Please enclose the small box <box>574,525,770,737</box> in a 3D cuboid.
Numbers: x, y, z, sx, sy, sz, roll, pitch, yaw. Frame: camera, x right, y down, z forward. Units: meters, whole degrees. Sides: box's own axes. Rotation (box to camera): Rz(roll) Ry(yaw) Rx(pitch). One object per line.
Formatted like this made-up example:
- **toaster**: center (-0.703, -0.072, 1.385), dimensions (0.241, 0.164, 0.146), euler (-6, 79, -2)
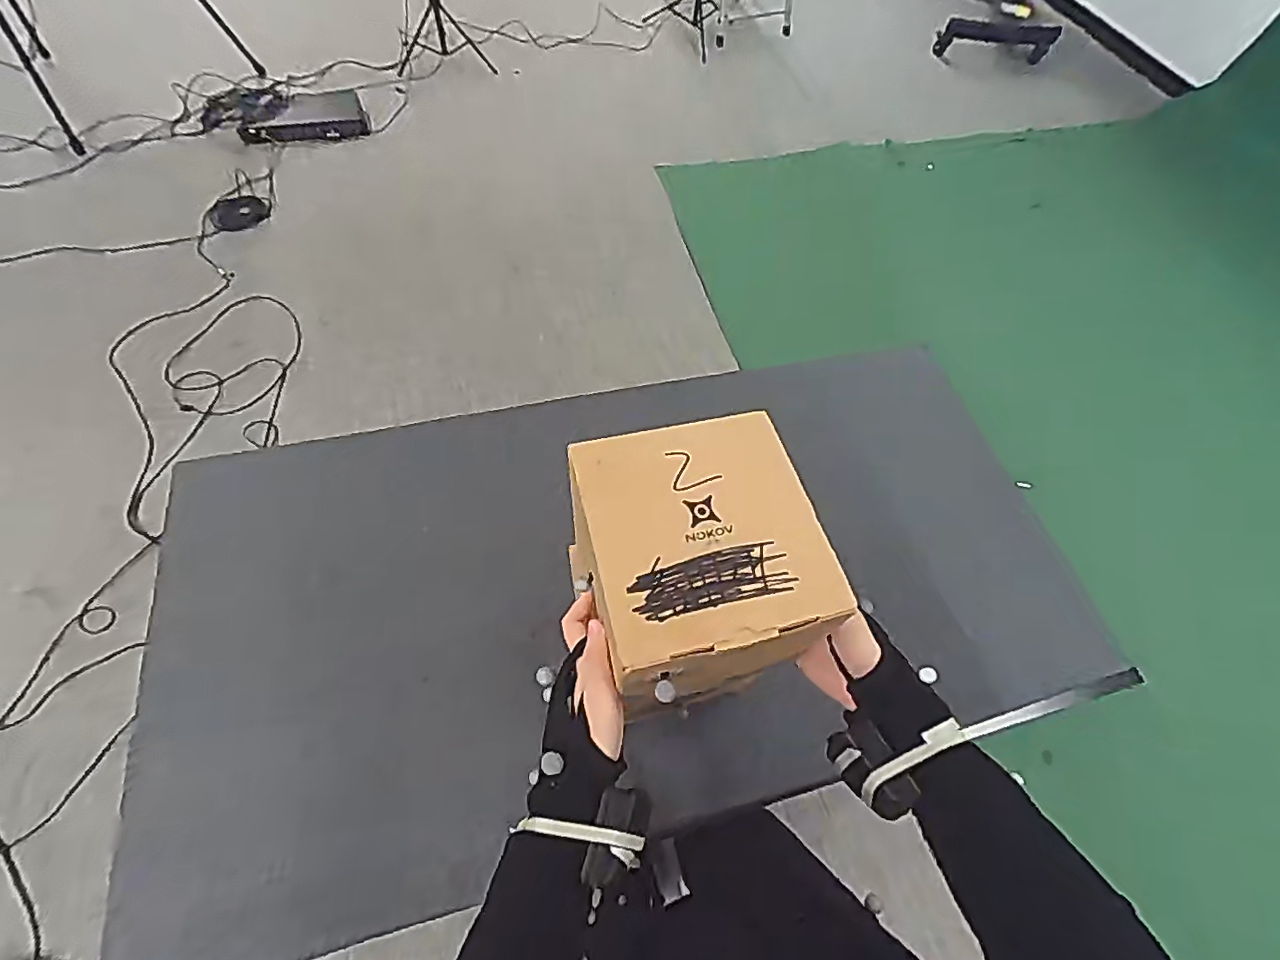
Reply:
- **small box**: center (0.022, 0.177, 0.621), dimensions (0.168, 0.176, 0.179), euler (-12, 63, -11)
